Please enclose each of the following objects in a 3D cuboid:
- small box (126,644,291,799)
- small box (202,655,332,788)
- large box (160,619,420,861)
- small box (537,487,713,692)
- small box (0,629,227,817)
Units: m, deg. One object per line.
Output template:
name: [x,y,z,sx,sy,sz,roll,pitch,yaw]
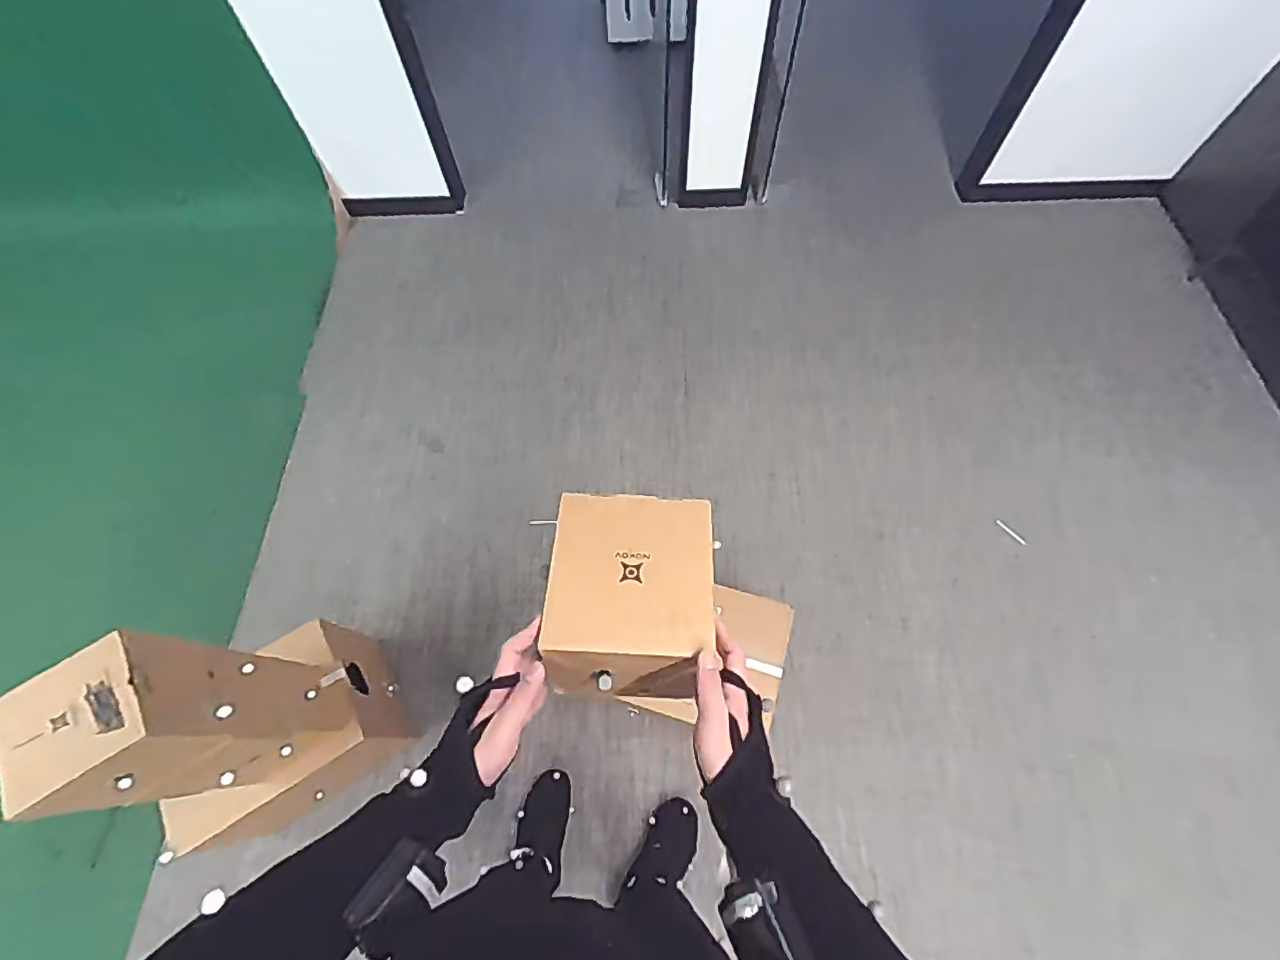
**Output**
small box: [-0.747,0.412,0.930,0.168,0.176,0.179,-30,68,-12]
small box: [-0.750,0.477,1.078,0.179,0.176,0.168,-32,68,-13]
large box: [-0.823,0.599,1.295,0.408,0.320,0.320,-32,66,-12]
small box: [-0.010,0.128,0.602,0.168,0.176,0.179,3,55,0]
small box: [-0.745,0.343,0.781,0.179,0.176,0.168,-32,68,-12]
